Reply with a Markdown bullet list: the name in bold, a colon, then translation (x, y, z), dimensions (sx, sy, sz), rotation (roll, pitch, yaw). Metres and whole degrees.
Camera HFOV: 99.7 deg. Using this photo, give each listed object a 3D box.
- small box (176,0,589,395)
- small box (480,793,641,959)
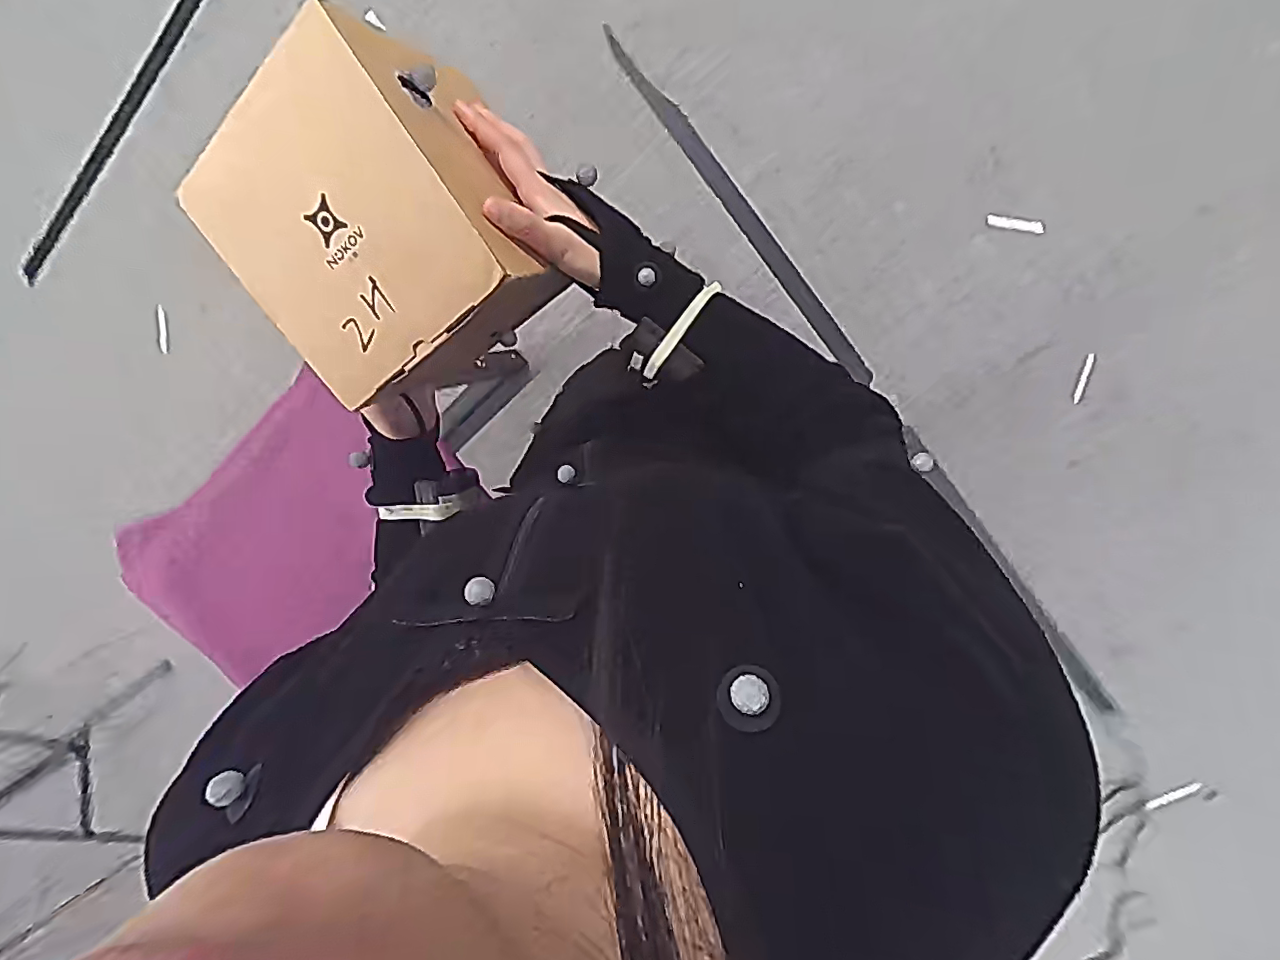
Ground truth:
- **small box**: translation (-0.167, -0.192, 0.402), dimensions (0.168, 0.176, 0.179), rotation (-28, 104, 24)
- **small box**: translation (-0.114, 0.648, 0.864), dimensions (0.179, 0.176, 0.168), rotation (-37, 97, 17)
